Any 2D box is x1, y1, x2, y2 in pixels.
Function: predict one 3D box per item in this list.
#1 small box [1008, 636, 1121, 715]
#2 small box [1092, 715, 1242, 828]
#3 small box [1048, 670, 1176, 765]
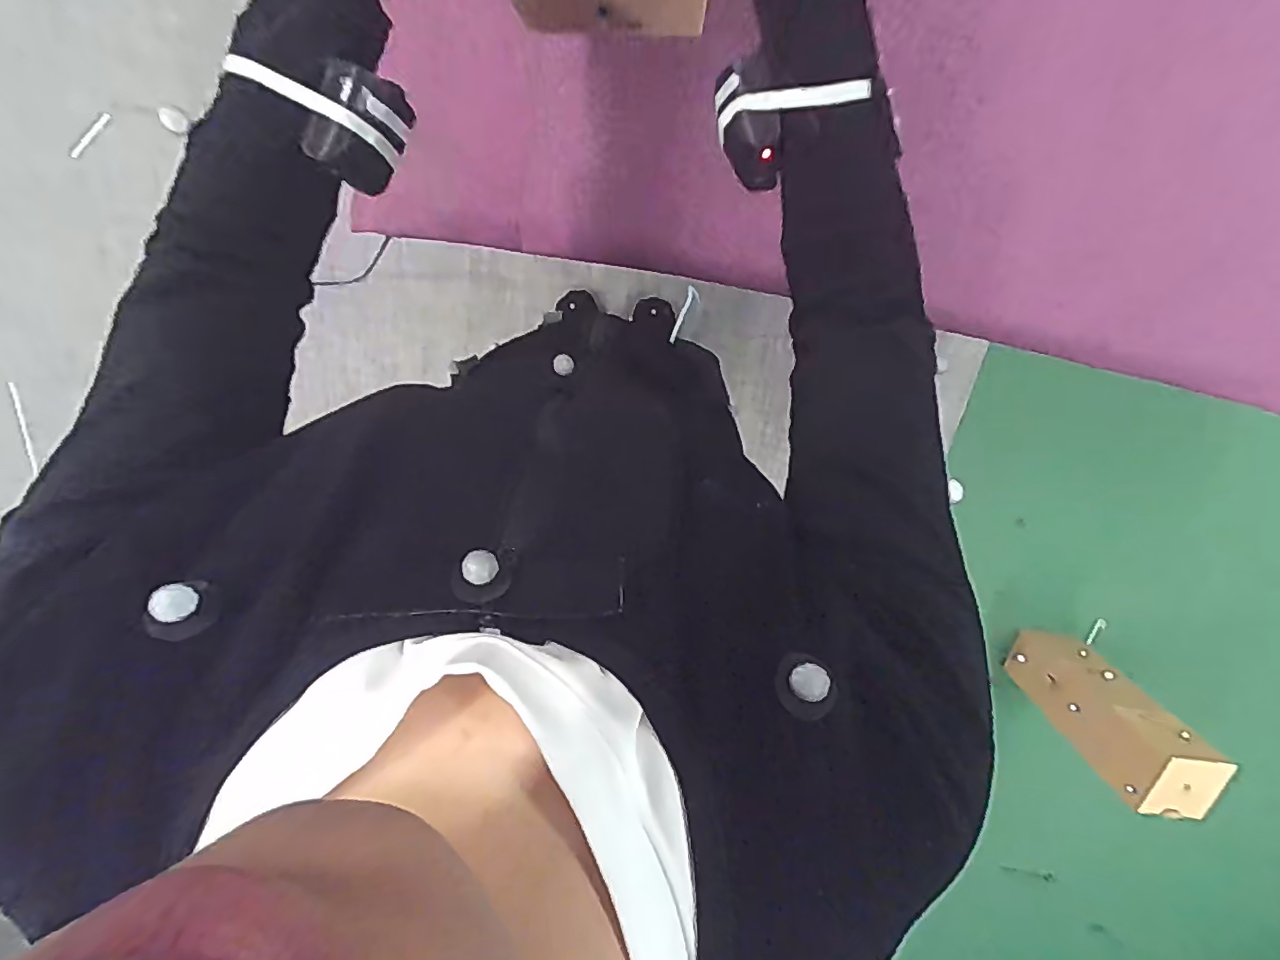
[{"bbox_3d":[1.264,0.589,1.623,0.179,0.176,0.168,9,109,-3],"label":"small box"},{"bbox_3d":[1.265,0.704,1.317,0.168,0.176,0.179,8,110,-3],"label":"small box"},{"bbox_3d":[1.265,0.652,1.469,0.168,0.176,0.179,11,110,-5],"label":"small box"}]
